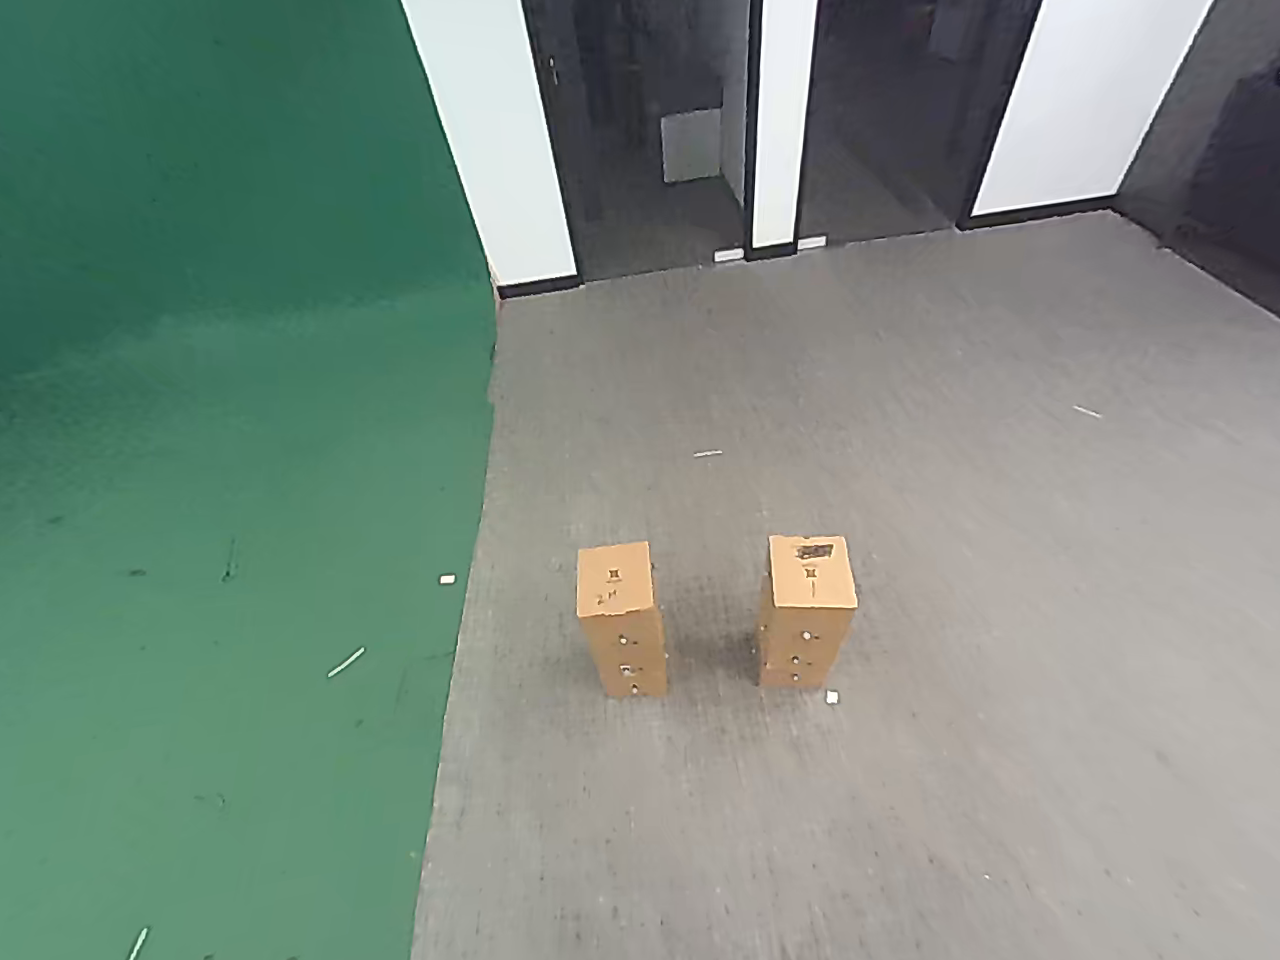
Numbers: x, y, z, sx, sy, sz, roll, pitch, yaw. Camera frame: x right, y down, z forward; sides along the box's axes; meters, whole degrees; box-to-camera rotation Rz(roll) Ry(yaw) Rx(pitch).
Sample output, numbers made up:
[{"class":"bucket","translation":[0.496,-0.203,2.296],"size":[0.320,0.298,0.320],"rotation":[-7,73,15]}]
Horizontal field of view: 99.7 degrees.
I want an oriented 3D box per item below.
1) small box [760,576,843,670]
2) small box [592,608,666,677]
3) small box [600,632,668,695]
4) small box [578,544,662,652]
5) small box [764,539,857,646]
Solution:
[{"class":"small box","translation":[0.389,0.352,1.337],"size":[0.168,0.176,0.179],"rotation":[-2,50,7]},{"class":"small box","translation":[-0.027,0.379,1.373],"size":[0.168,0.176,0.179],"rotation":[-8,49,3]},{"class":"small box","translation":[-0.012,0.485,1.496],"size":[0.168,0.176,0.179],"rotation":[-4,49,5]},{"class":"small box","translation":[-0.043,0.273,1.248],"size":[0.168,0.176,0.179],"rotation":[-8,48,4]},{"class":"small box","translation":[0.371,0.251,1.208],"size":[0.168,0.176,0.179],"rotation":[0,51,8]}]
